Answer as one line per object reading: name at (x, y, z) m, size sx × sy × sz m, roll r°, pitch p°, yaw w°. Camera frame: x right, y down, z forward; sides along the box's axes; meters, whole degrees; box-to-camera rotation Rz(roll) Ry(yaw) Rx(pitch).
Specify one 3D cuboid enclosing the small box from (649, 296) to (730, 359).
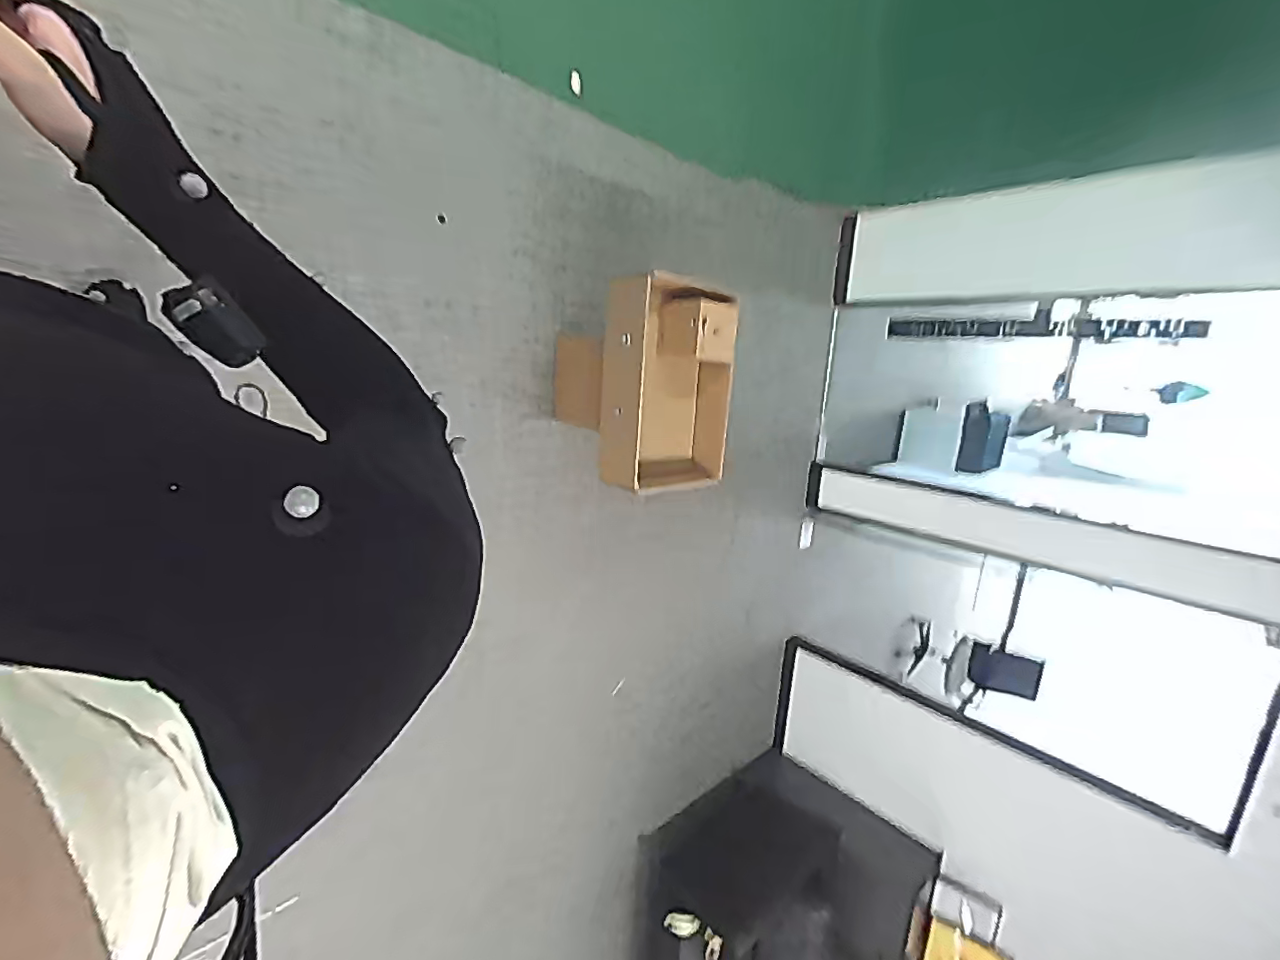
small box at (0.153, -0.471, 1.674) m, size 0.179 × 0.176 × 0.168 m, roll -5°, pitch 106°, yaw -44°
